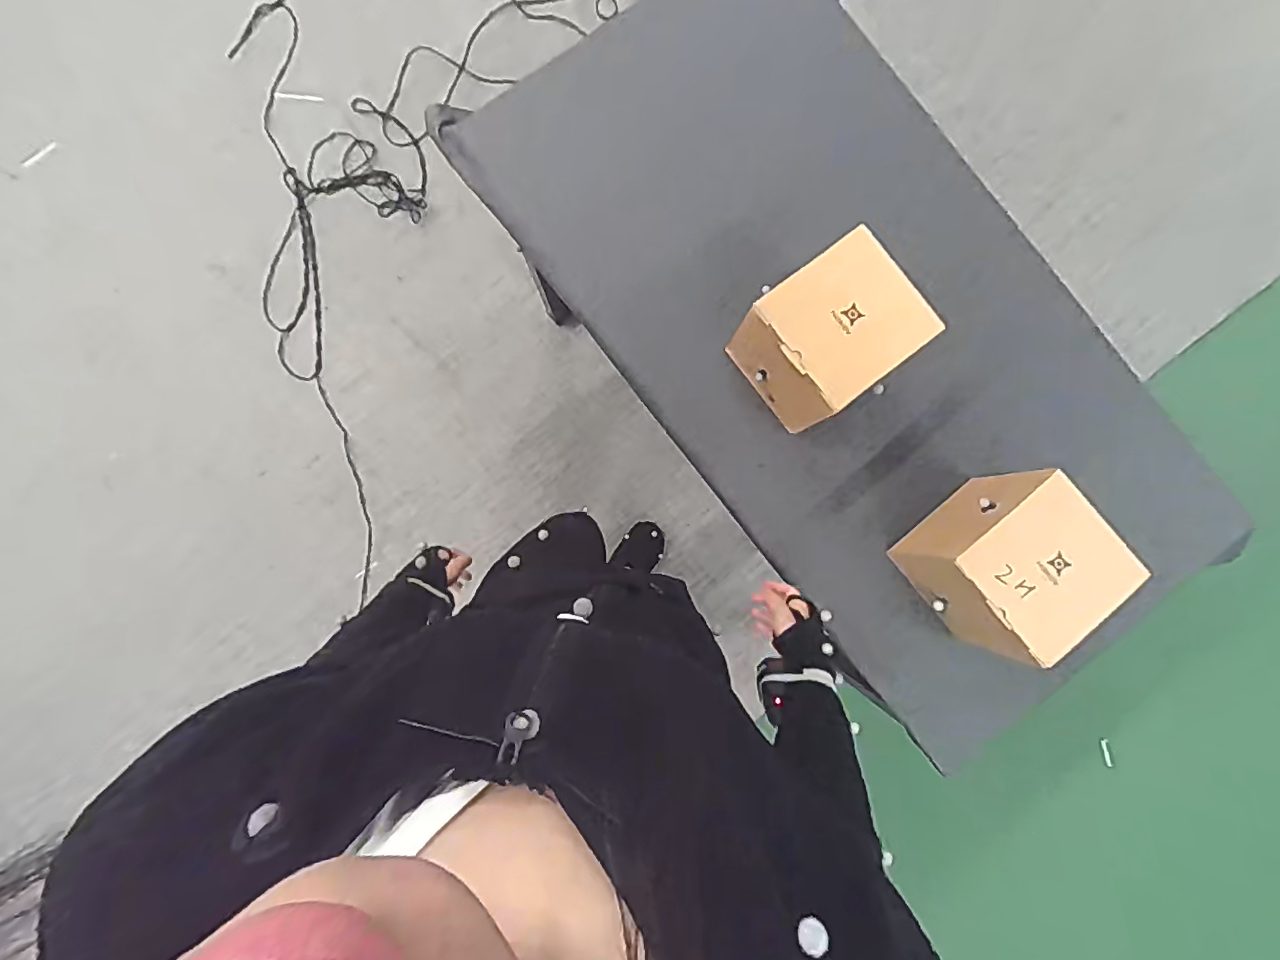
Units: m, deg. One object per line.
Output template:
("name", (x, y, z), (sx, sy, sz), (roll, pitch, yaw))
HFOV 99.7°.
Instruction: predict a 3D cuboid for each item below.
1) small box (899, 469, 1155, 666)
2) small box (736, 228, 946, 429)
("small box", (0.487, 0.106, 0.712), (0.179, 0.176, 0.168), (-39, 86, -3))
("small box", (0.255, -0.191, 0.733), (0.179, 0.176, 0.168), (-38, 88, -3))
